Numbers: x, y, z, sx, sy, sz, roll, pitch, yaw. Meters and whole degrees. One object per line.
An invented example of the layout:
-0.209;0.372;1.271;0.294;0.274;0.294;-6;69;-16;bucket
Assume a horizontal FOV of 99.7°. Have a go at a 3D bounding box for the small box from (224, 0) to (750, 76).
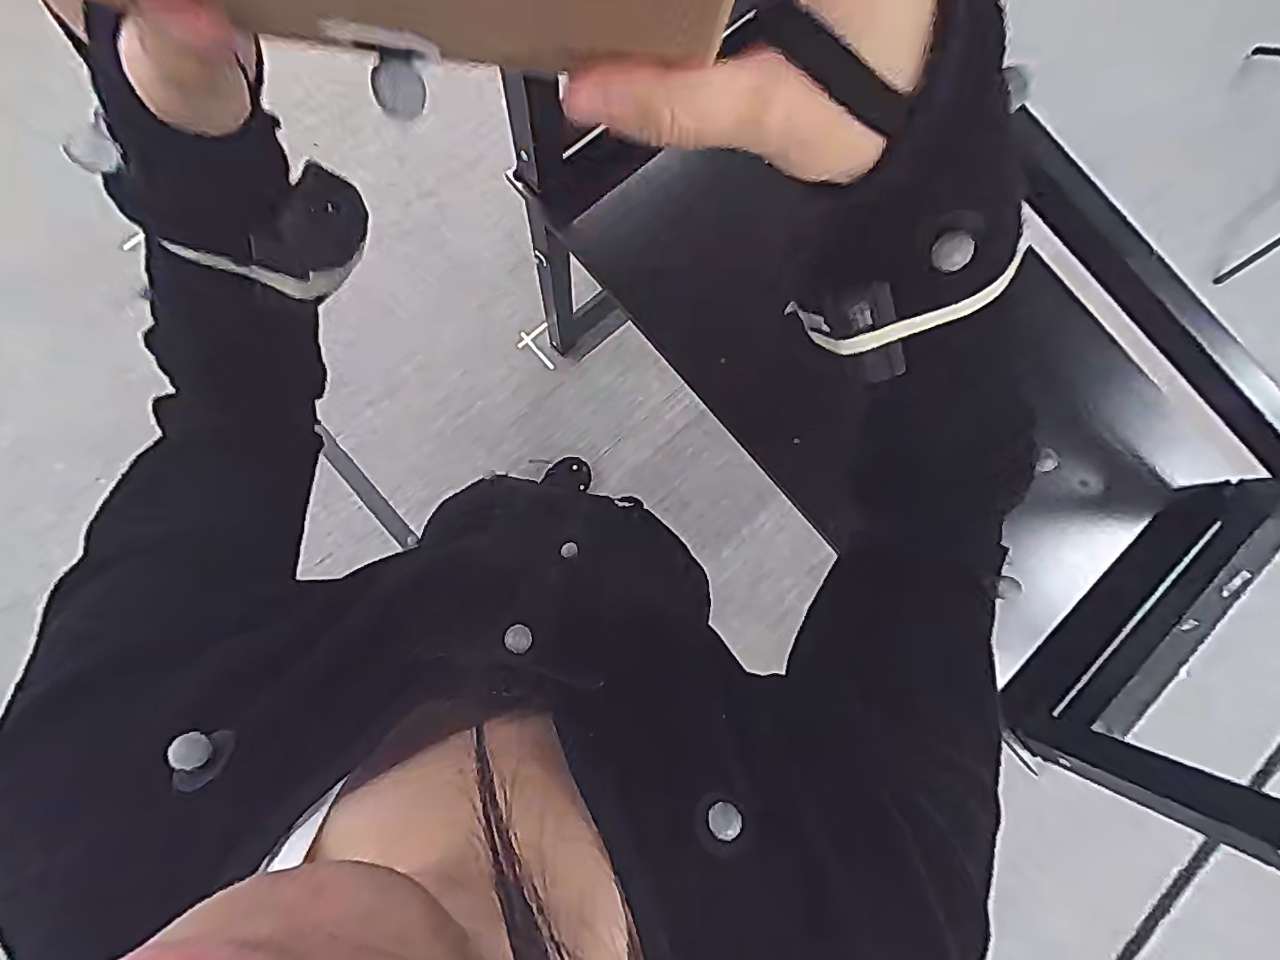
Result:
-0.049;-0.180;0.072;0.168;0.176;0.179;7;121;1;small box
